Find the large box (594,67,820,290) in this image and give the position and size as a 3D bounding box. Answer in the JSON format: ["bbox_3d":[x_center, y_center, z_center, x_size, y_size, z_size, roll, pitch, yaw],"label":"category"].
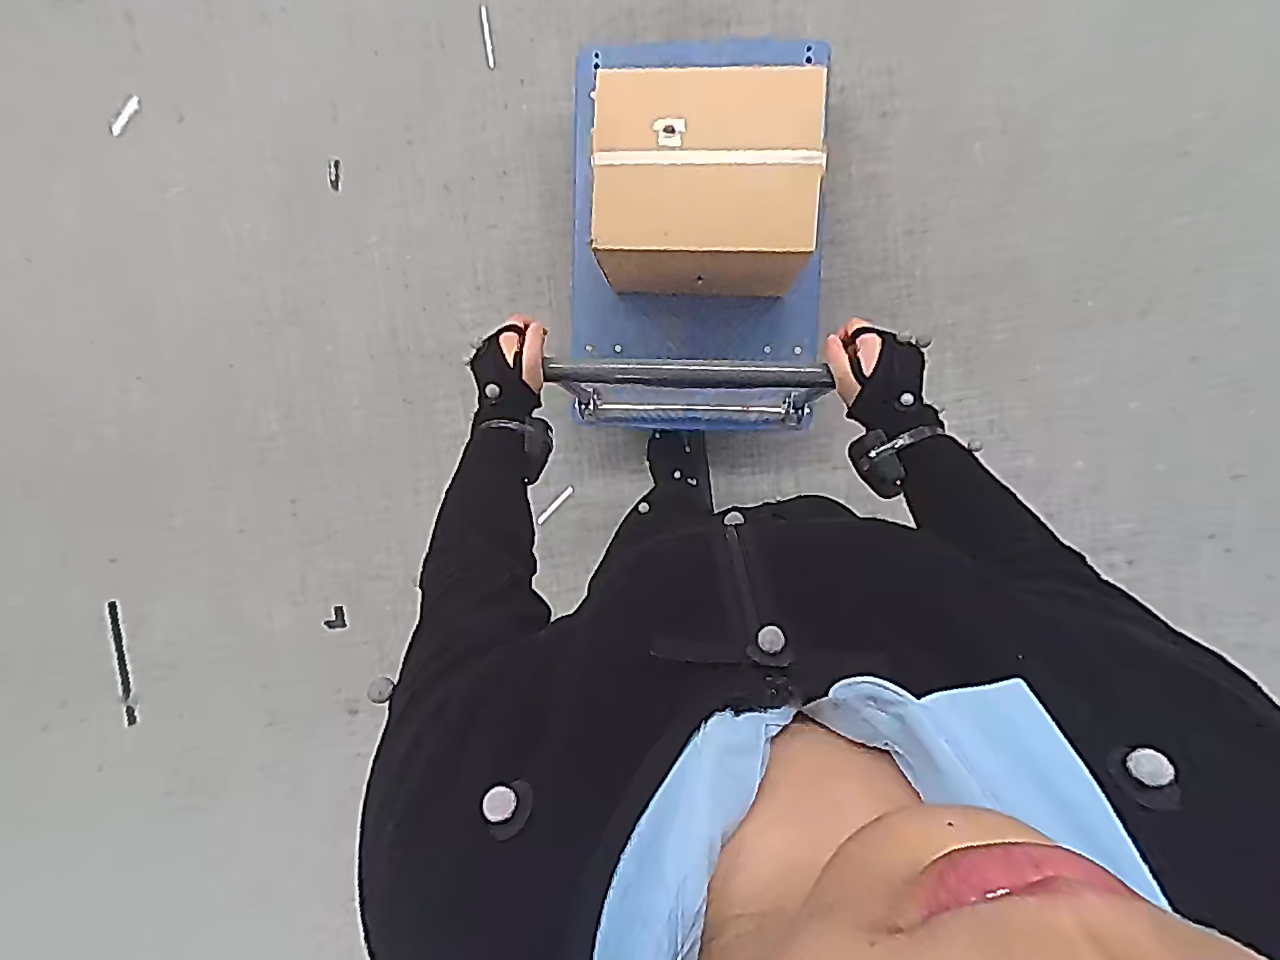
[{"bbox_3d":[0.133,-0.588,1.122,0.408,0.320,0.320,3,94,6],"label":"large box"}]
